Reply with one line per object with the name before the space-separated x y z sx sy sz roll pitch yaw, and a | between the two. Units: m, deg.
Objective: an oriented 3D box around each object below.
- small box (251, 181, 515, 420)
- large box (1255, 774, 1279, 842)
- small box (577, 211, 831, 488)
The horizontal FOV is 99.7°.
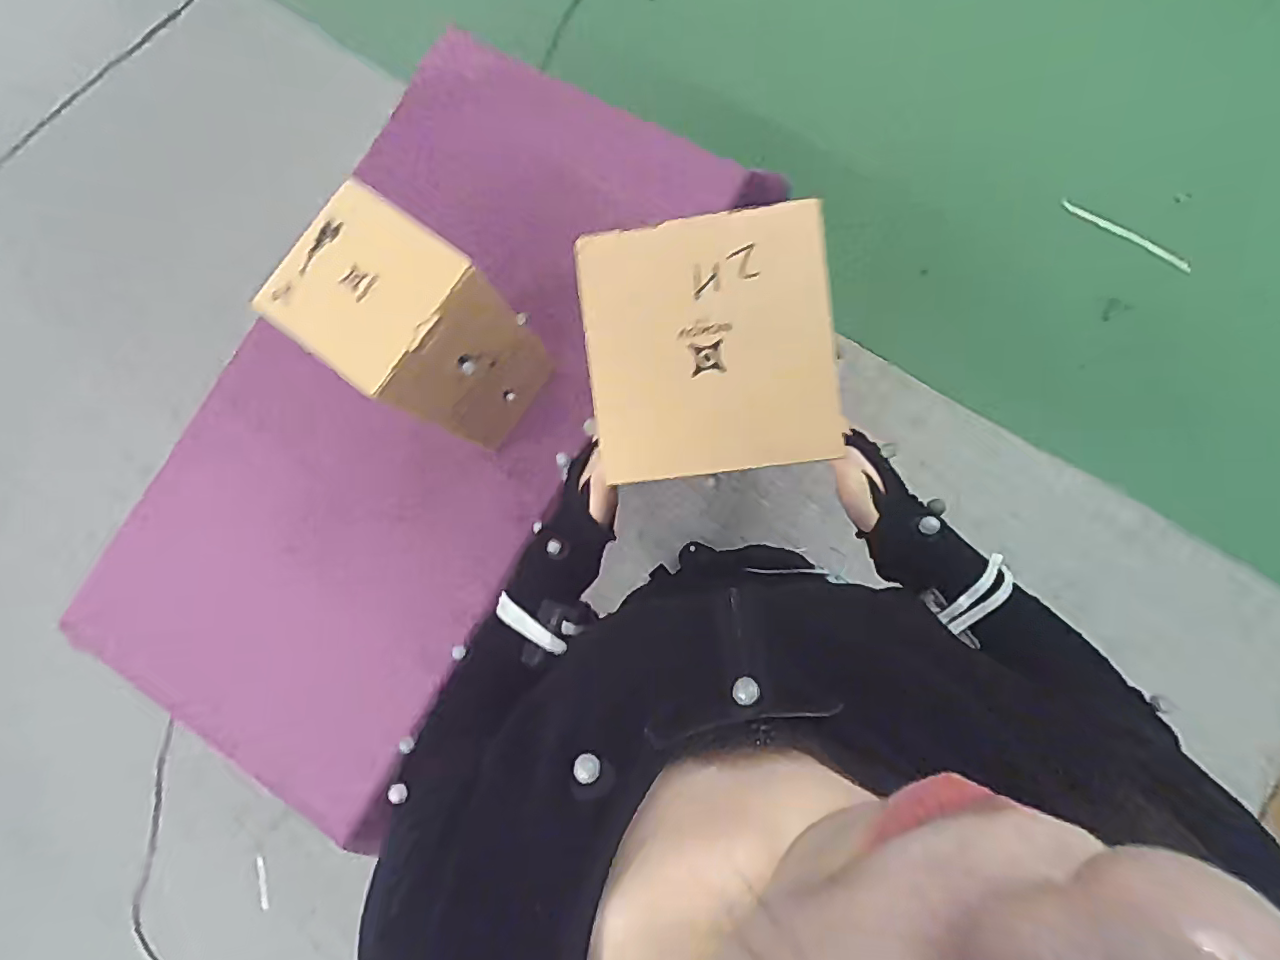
small box | -0.273 -0.185 0.618 0.179 0.176 0.168 36 88 8
large box | 1.710 0.783 1.144 0.408 0.320 0.320 32 87 7
small box | 0.053 -0.091 0.454 0.168 0.176 0.179 -6 91 6
